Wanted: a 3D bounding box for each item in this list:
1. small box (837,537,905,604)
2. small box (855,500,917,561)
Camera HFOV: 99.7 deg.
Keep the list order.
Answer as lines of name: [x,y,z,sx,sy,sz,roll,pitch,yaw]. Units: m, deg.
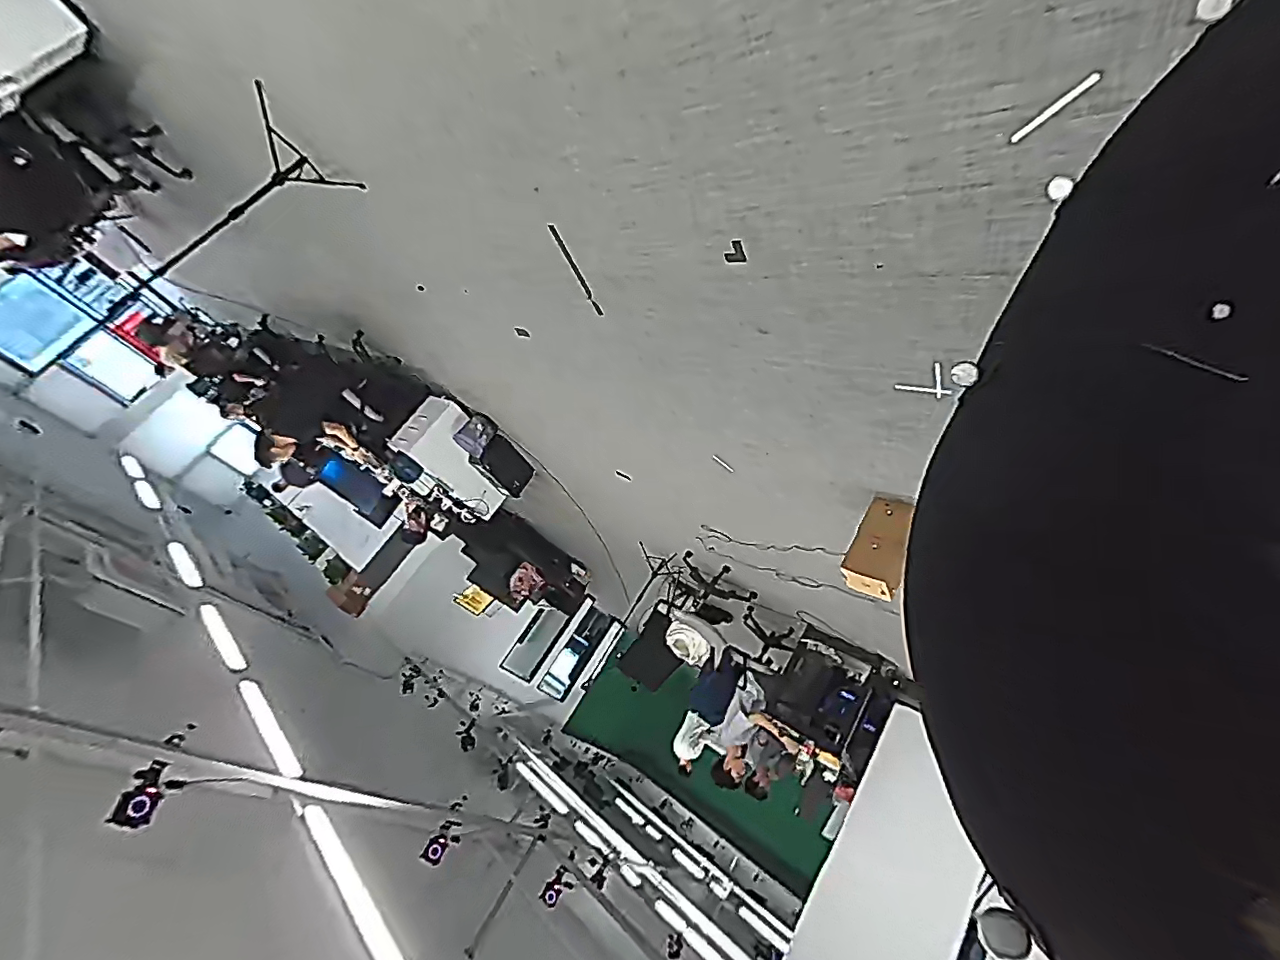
small box: [0.888,0.339,2.073,0.179,0.176,0.168,18,156,42]
small box: [0.972,0.208,2.128,0.168,0.176,0.179,17,154,41]
